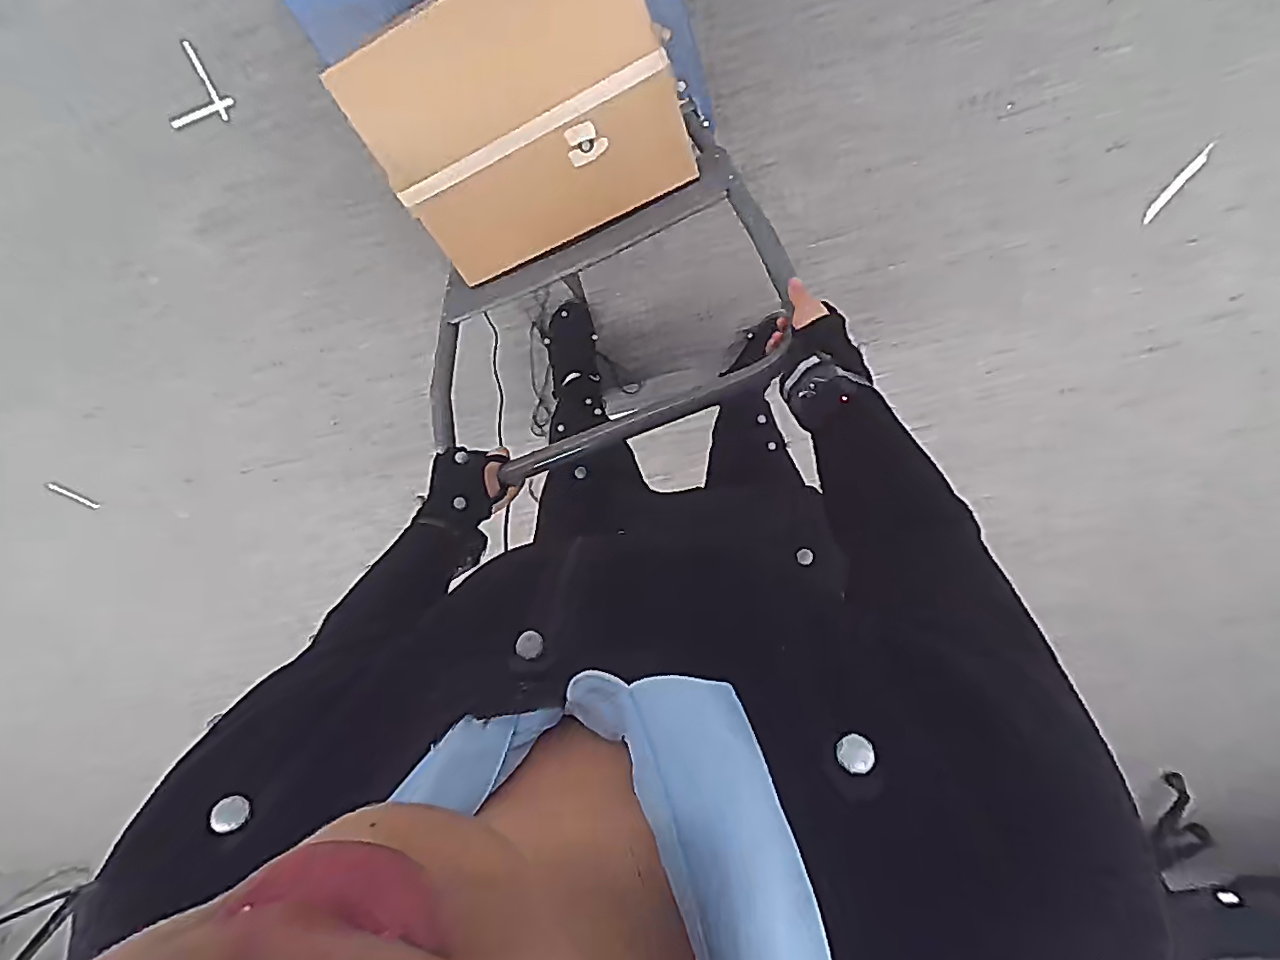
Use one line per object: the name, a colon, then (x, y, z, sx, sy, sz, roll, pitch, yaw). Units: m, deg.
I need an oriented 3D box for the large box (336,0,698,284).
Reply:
large box: (-0.171, -0.589, 0.846, 0.408, 0.320, 0.320, -22, 136, 12)
